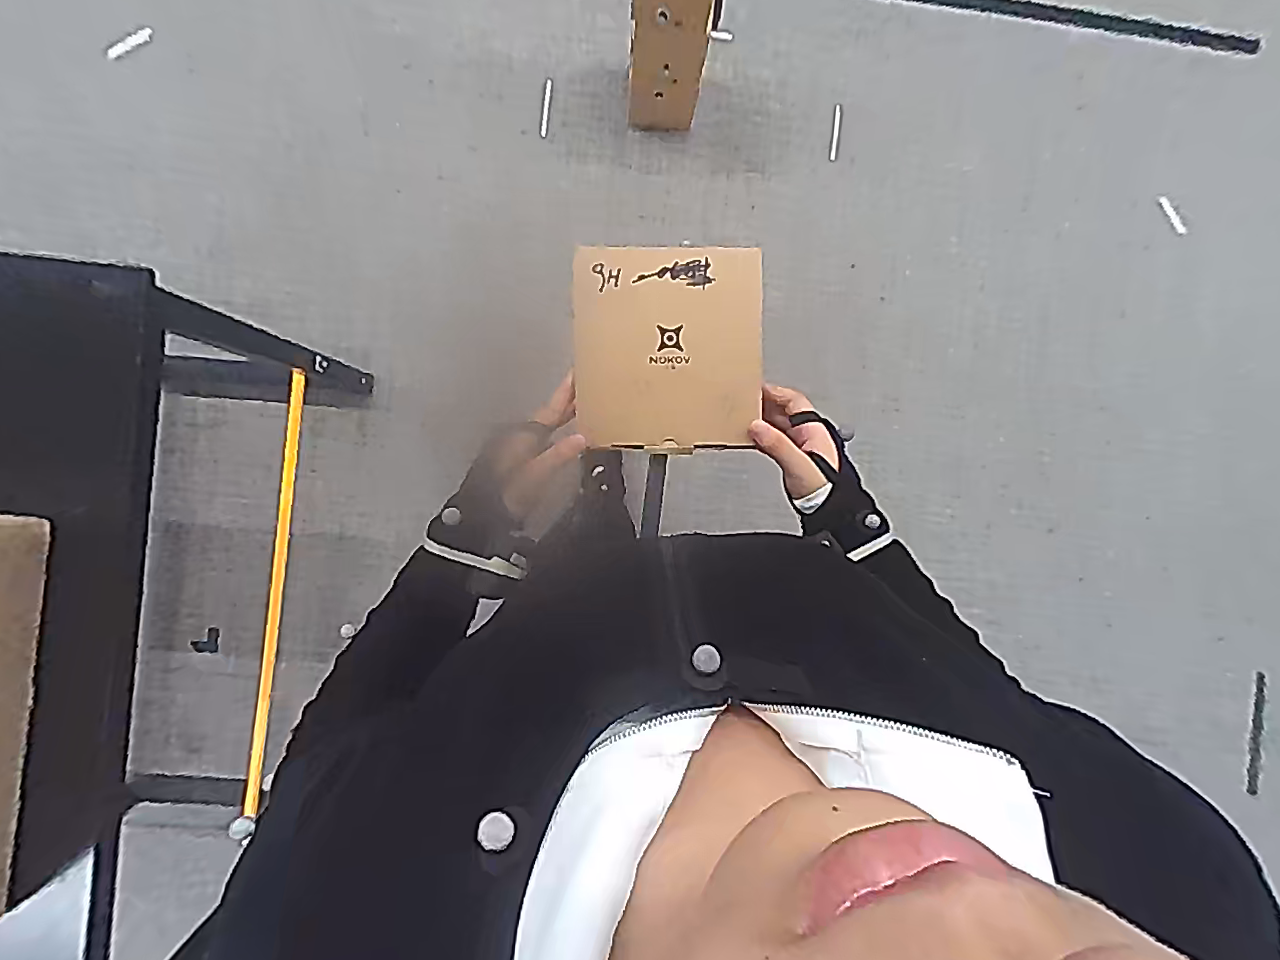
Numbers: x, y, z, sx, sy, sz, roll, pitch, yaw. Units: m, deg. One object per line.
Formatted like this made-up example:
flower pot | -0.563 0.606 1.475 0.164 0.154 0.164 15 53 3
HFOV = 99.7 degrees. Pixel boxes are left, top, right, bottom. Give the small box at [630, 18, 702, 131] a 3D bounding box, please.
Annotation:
small box | 0.065 -1.035 1.393 0.179 0.176 0.168 2 90 -4

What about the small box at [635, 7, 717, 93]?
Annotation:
small box | 0.079 -1.035 1.229 0.168 0.176 0.179 6 90 -3

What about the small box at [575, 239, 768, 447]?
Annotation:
small box | 0.025 -0.123 0.543 0.168 0.176 0.179 0 94 -2

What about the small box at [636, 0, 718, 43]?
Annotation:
small box | 0.087 -1.027 1.066 0.168 0.176 0.179 12 91 -2
